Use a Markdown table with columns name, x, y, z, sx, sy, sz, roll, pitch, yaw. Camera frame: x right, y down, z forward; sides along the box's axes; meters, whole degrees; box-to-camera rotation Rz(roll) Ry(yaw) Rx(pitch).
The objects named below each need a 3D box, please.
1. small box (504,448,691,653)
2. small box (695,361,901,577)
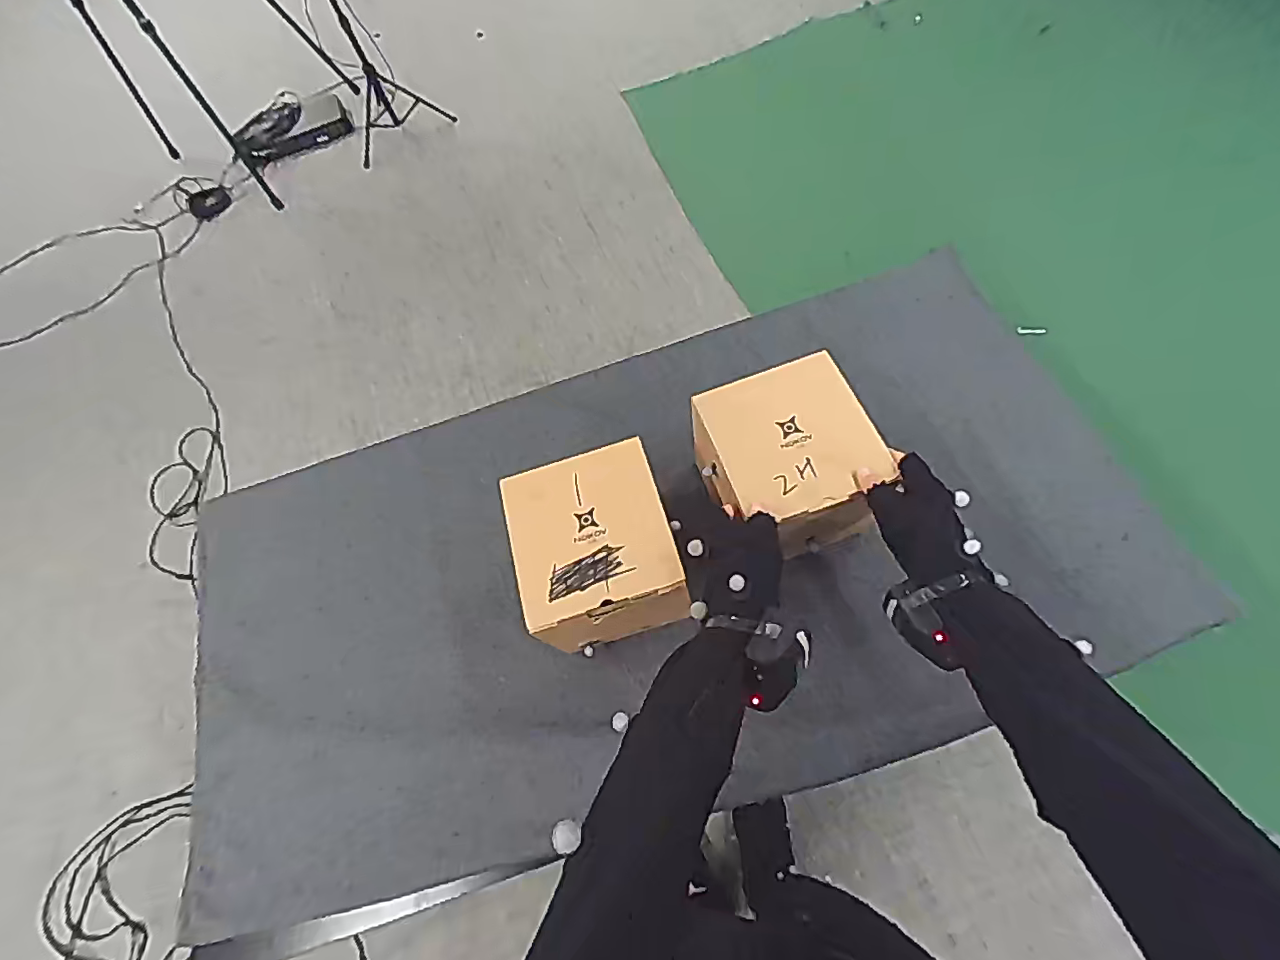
| name | x | y | z | sx | sy | sz | roll | pitch | yaw |
| --- | --- | --- | --- | --- | --- | --- | --- | --- | --- |
| small box | -0.042 | 0.094 | 0.637 | 0.168 | 0.176 | 0.179 | -17 | 63 | 0 |
| small box | 0.173 | -0.005 | 0.653 | 0.168 | 0.176 | 0.179 | -20 | 64 | 0 |
